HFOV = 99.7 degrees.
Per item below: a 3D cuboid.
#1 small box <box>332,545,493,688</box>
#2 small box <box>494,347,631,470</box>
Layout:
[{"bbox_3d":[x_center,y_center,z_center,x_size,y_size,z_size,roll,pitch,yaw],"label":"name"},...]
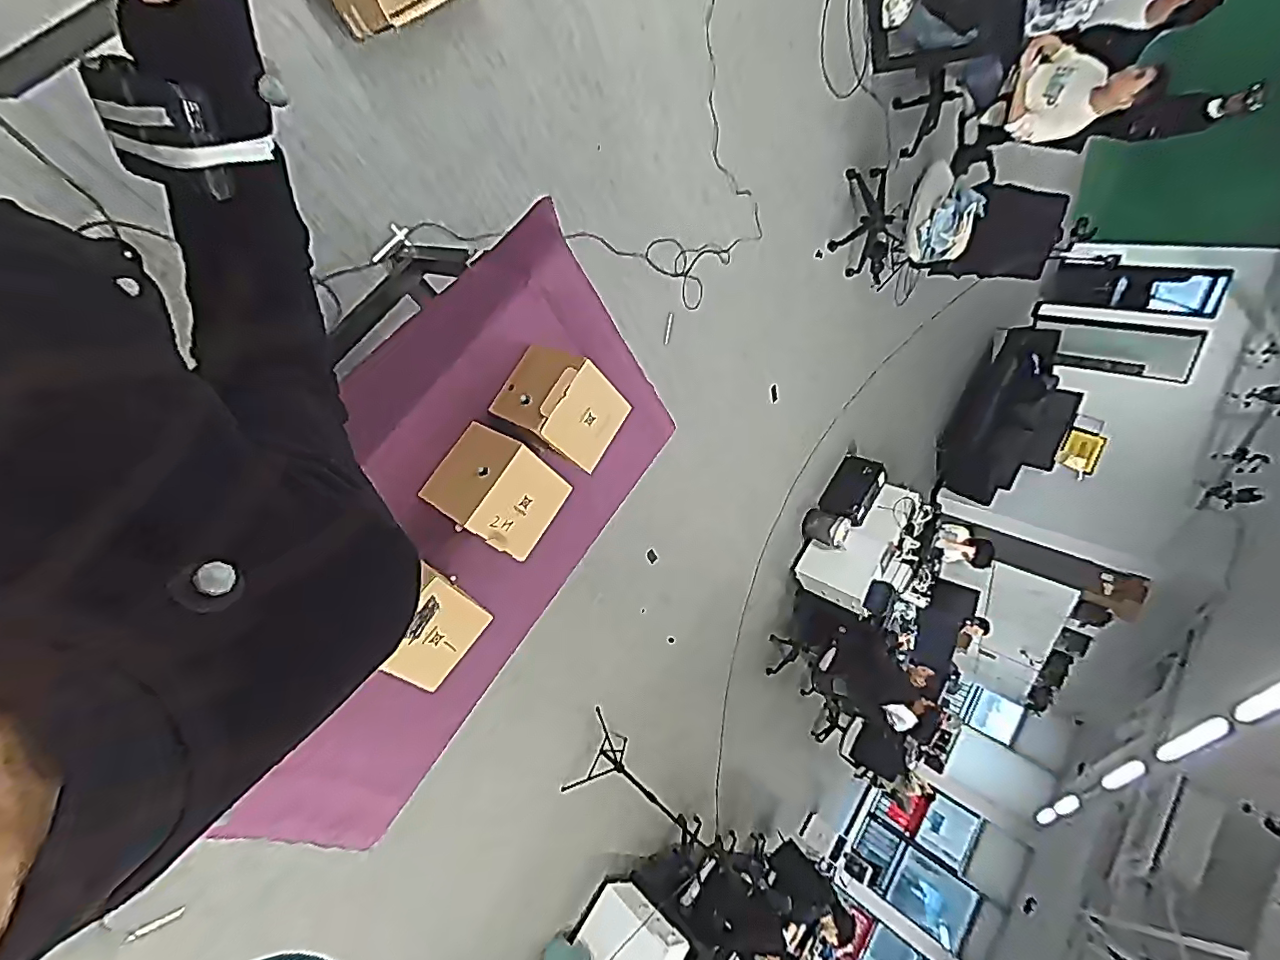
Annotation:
[{"bbox_3d":[-0.411,0.239,0.979,0.168,0.176,0.179,-52,140,-18],"label":"small box"},{"bbox_3d":[-0.156,-0.147,1.081,0.168,0.176,0.179,-58,141,-9],"label":"small box"}]
